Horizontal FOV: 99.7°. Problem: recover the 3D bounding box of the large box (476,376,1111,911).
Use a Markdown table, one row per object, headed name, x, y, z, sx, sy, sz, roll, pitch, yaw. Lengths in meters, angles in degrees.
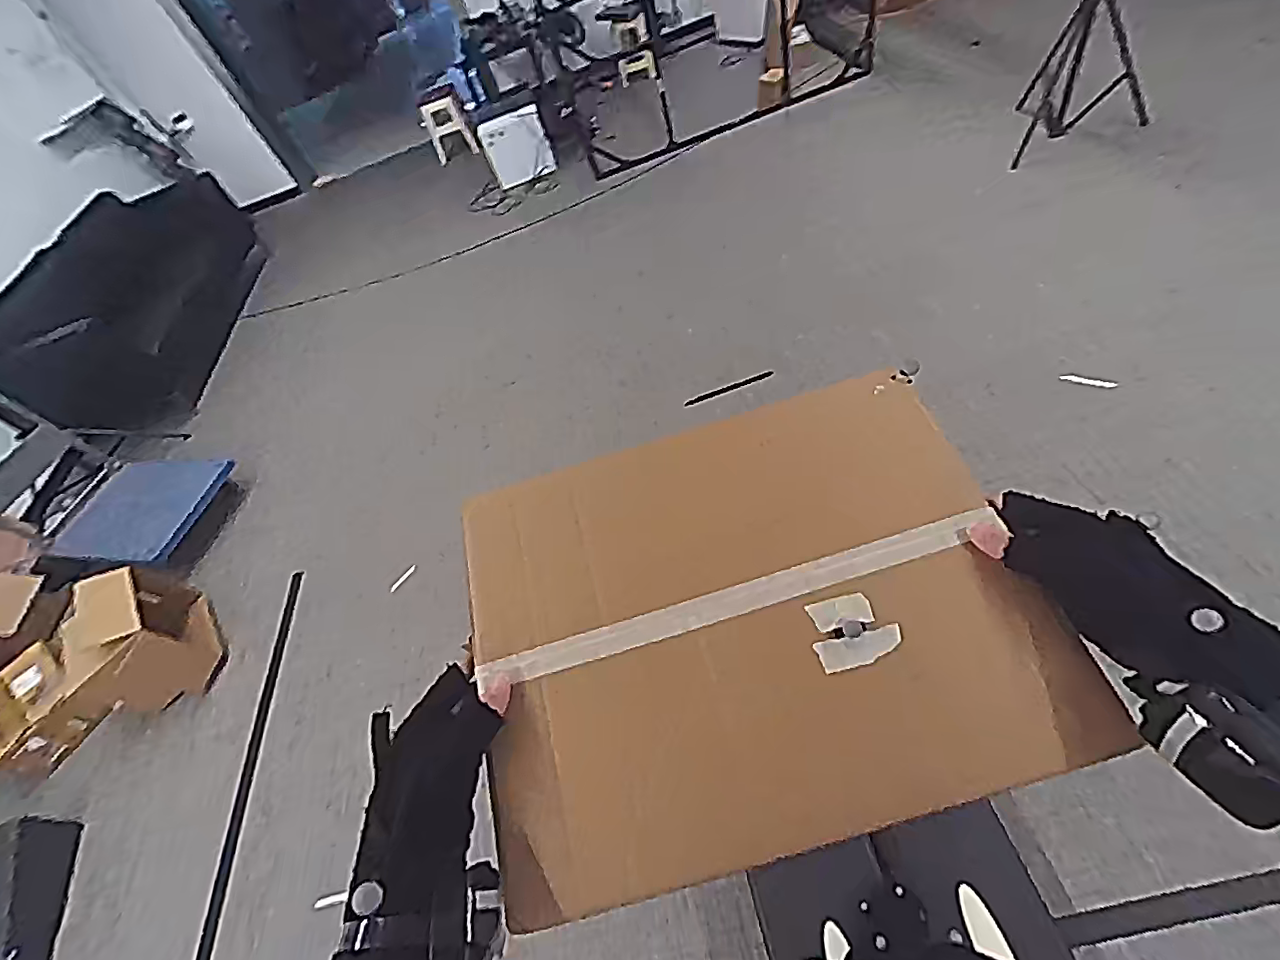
| name | x | y | z | sx | sy | sz | roll | pitch | yaw |
| --- | --- | --- | --- | --- | --- | --- | --- | --- | --- |
| large box | 0.099 | 0.161 | 0.548 | 0.408 | 0.320 | 0.320 | -17 | 62 | 1 |
